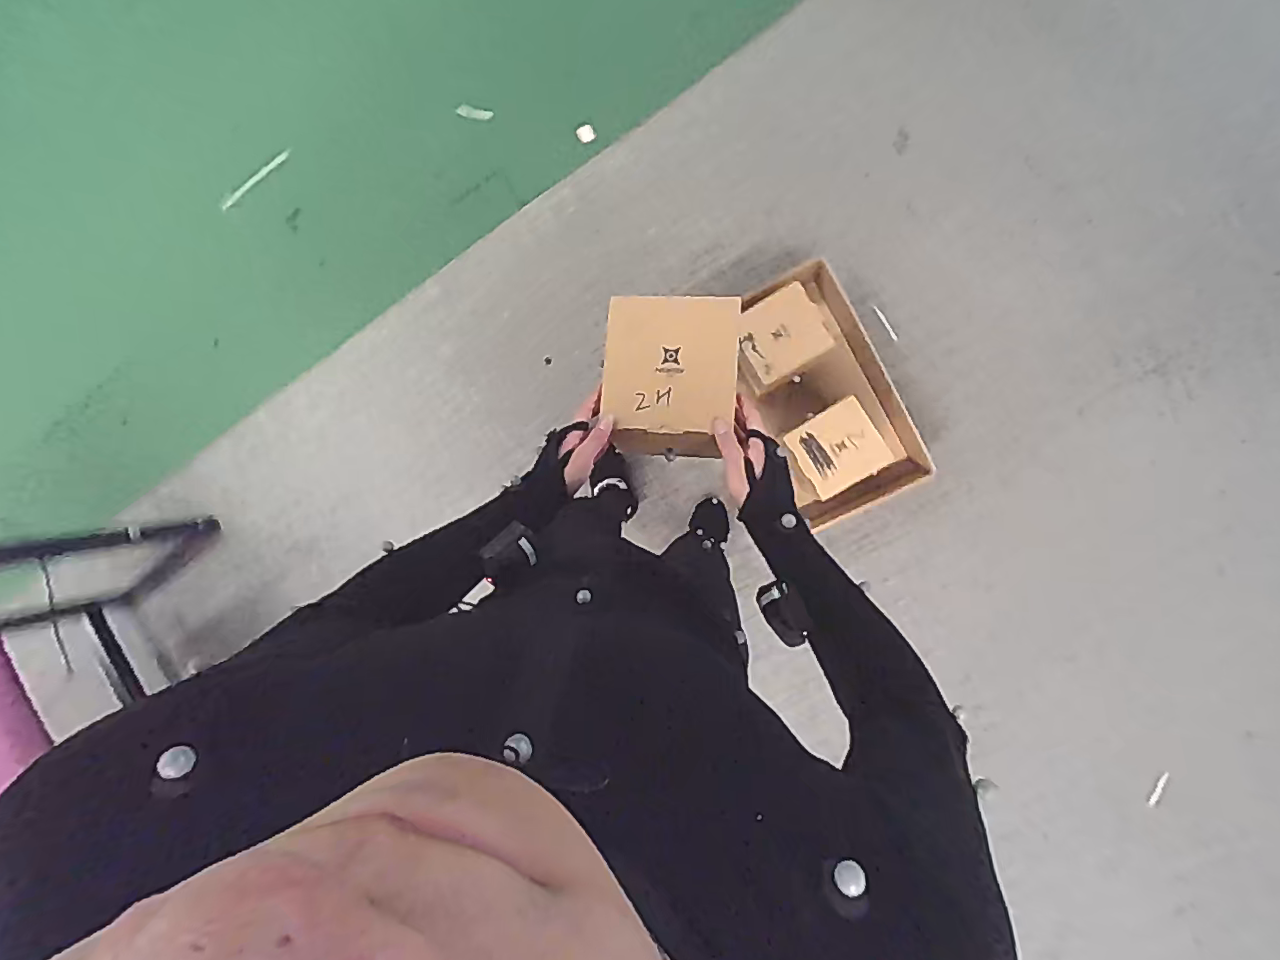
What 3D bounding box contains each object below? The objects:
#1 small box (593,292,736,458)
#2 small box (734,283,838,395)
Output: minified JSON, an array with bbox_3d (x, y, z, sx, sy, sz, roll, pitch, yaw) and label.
[{"bbox_3d":[0.039,-0.134,0.729,0.168,0.176,0.179,2,83,8],"label":"small box"},{"bbox_3d":[0.322,-0.315,1.242,0.179,0.176,0.168,-29,85,9],"label":"small box"}]
